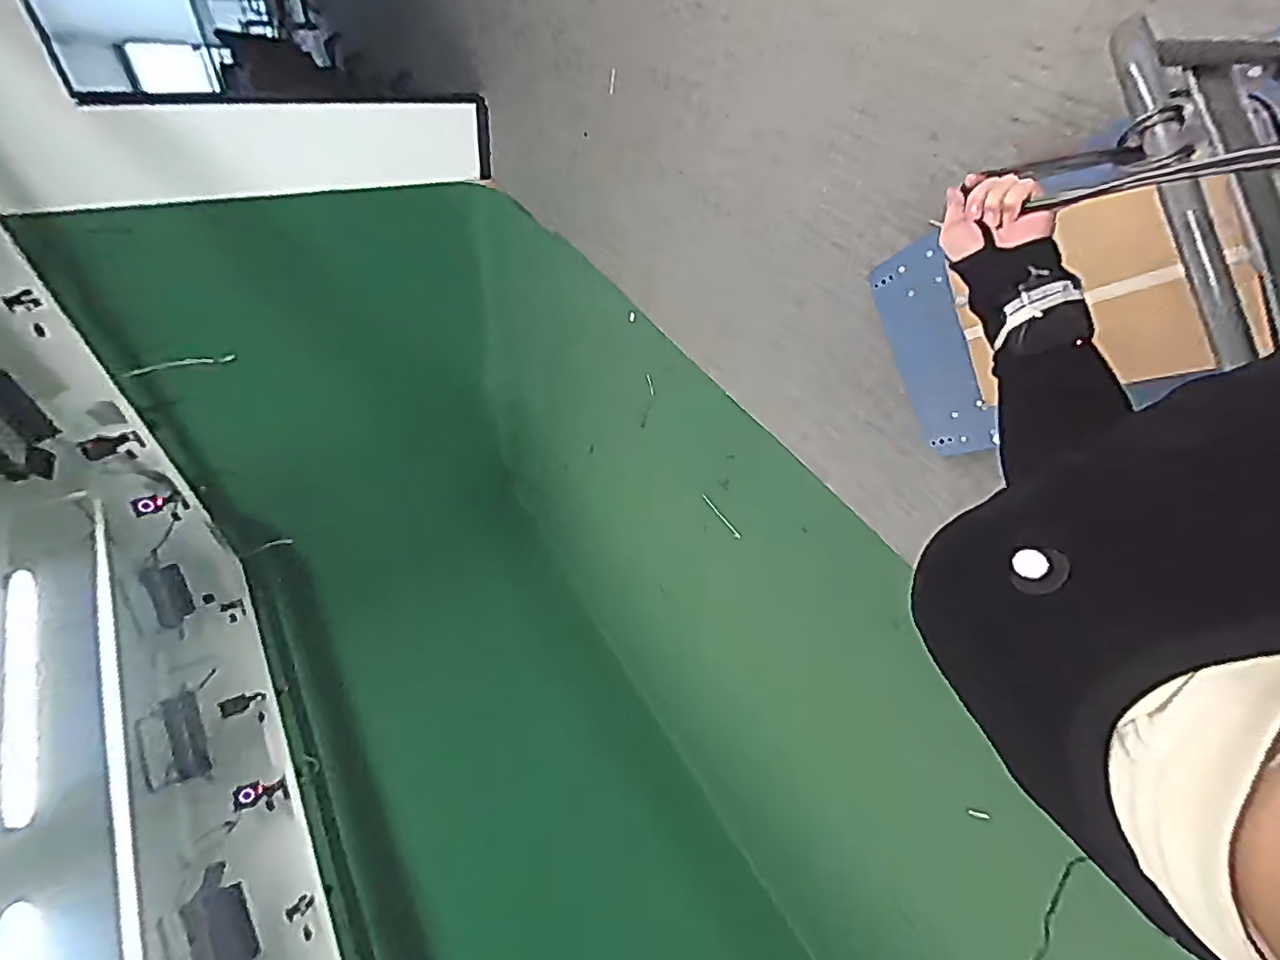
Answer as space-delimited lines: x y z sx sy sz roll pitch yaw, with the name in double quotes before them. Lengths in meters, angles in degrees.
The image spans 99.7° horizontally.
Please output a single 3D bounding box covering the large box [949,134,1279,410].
"large box" 0.881 -0.353 0.988 0.408 0.320 0.320 -8 102 62
